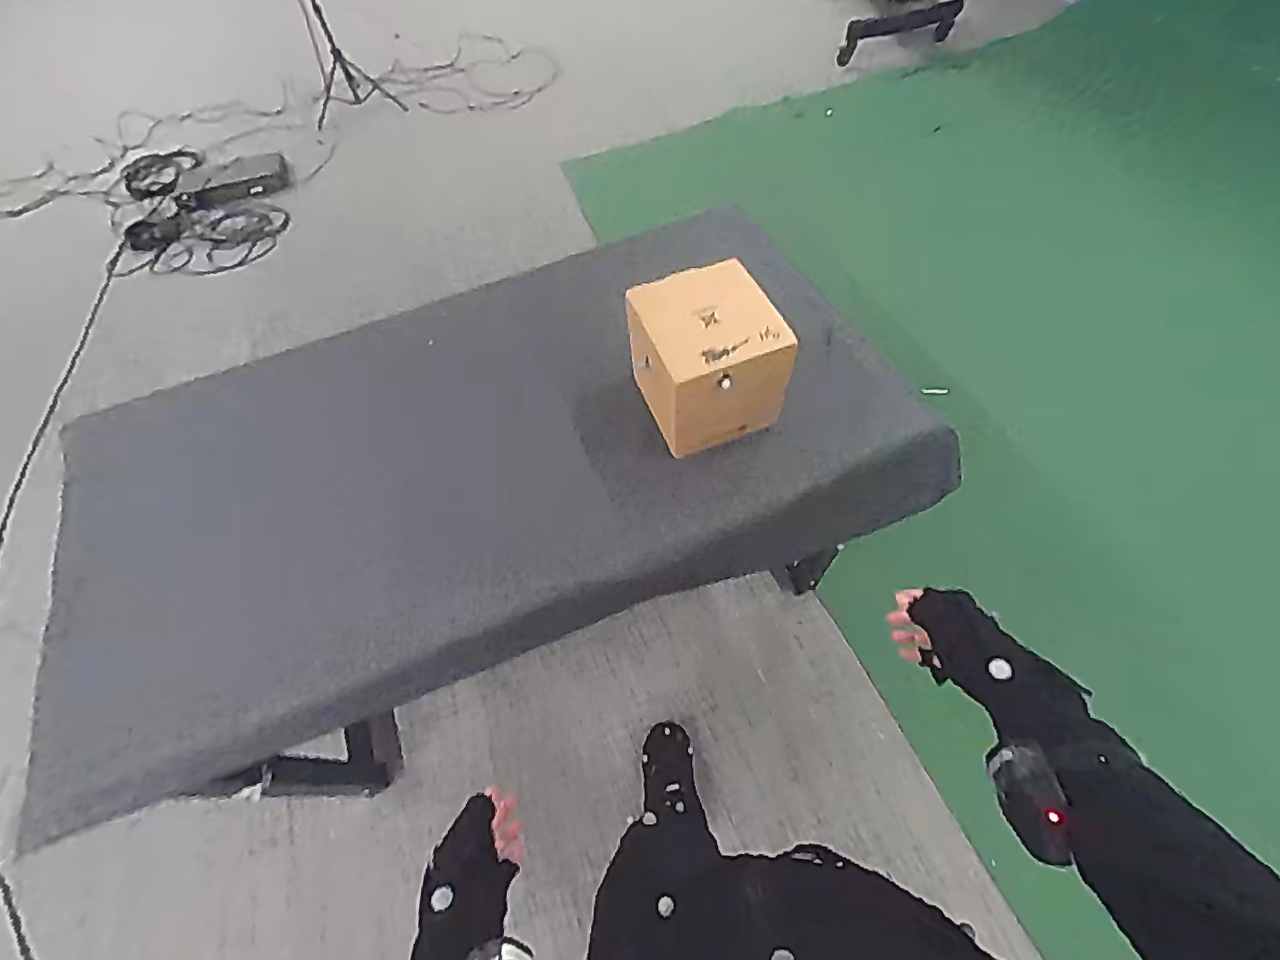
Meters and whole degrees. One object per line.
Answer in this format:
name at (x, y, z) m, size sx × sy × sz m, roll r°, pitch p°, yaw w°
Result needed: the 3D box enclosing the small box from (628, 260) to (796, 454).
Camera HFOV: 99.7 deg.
small box at (0.092, -0.168, 0.760) m, size 0.168 × 0.176 × 0.179 m, roll -20°, pitch 60°, yaw -7°
